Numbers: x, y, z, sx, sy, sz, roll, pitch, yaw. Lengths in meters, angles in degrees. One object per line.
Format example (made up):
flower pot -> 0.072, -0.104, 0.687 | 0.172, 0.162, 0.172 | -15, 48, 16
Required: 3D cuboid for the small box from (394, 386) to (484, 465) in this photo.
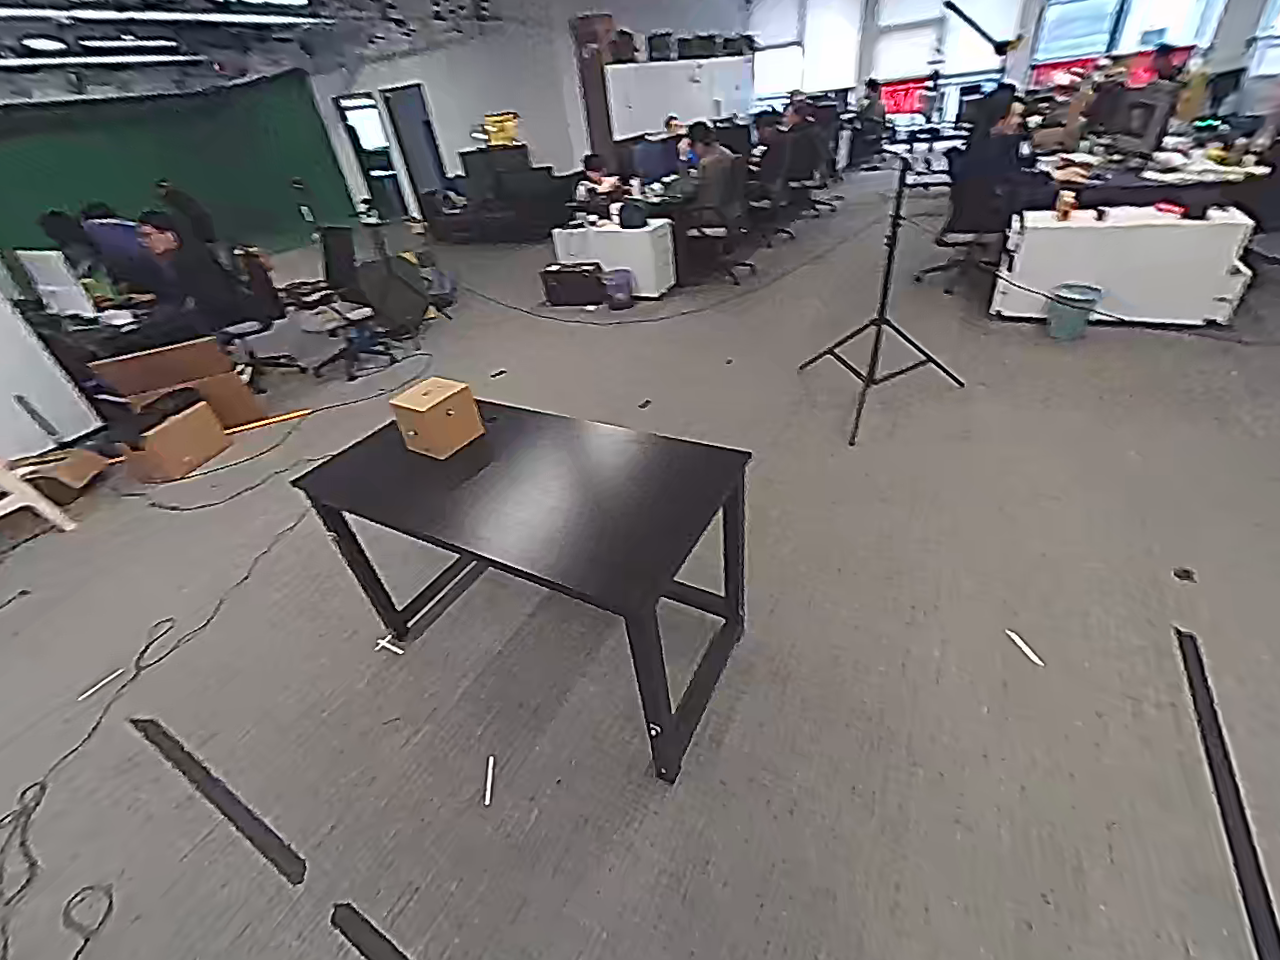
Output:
small box -> -0.607, -0.167, 1.658 | 0.168, 0.176, 0.179 | 15, 41, 30
